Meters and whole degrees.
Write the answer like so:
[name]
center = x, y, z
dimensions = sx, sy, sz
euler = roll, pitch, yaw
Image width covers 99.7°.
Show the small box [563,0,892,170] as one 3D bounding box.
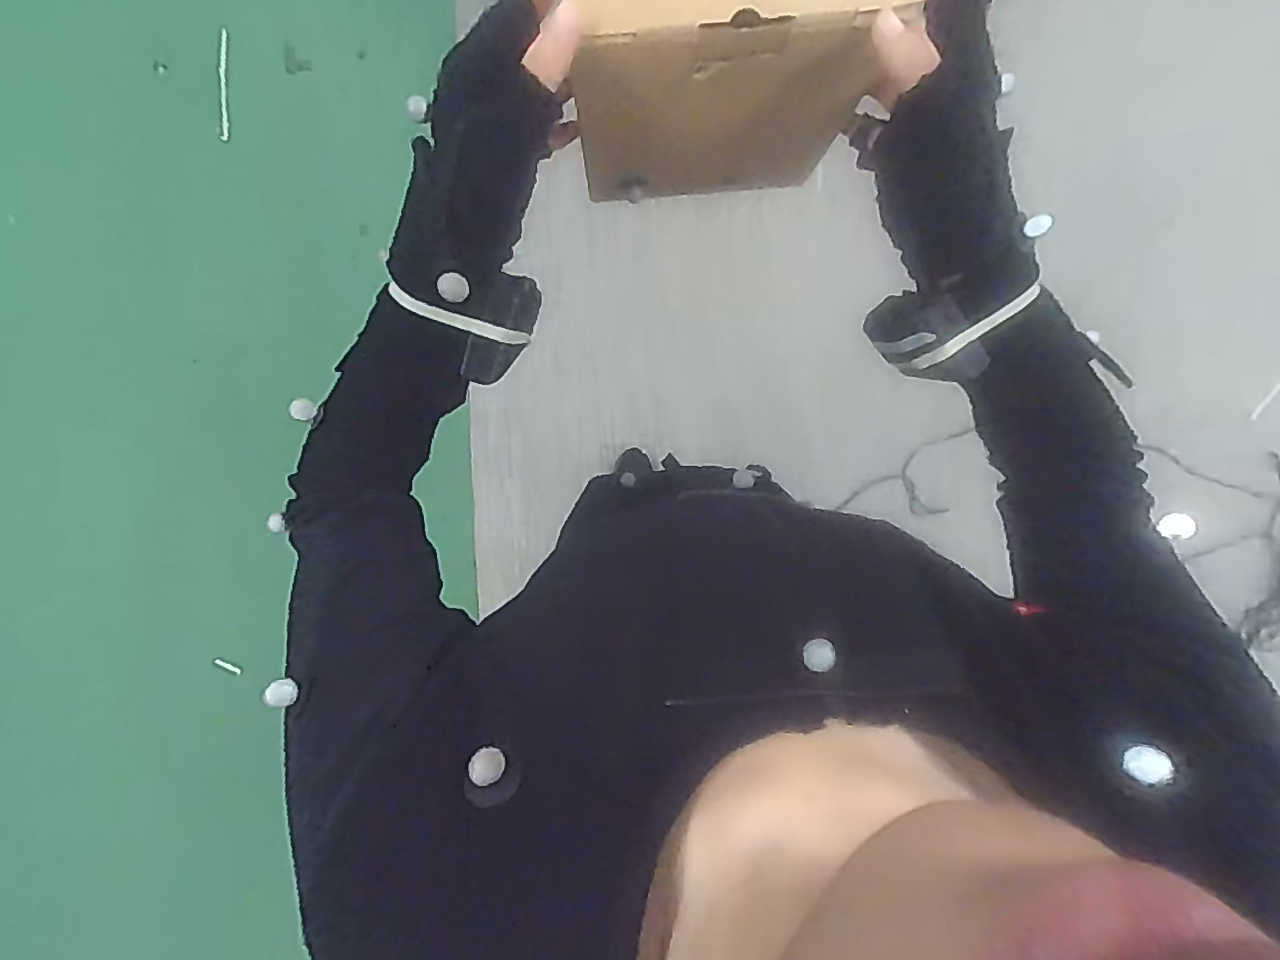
[small box]
center = 0.039, -0.308, 0.318
dimensions = 0.168, 0.176, 0.179
euler = -5, 92, -1
